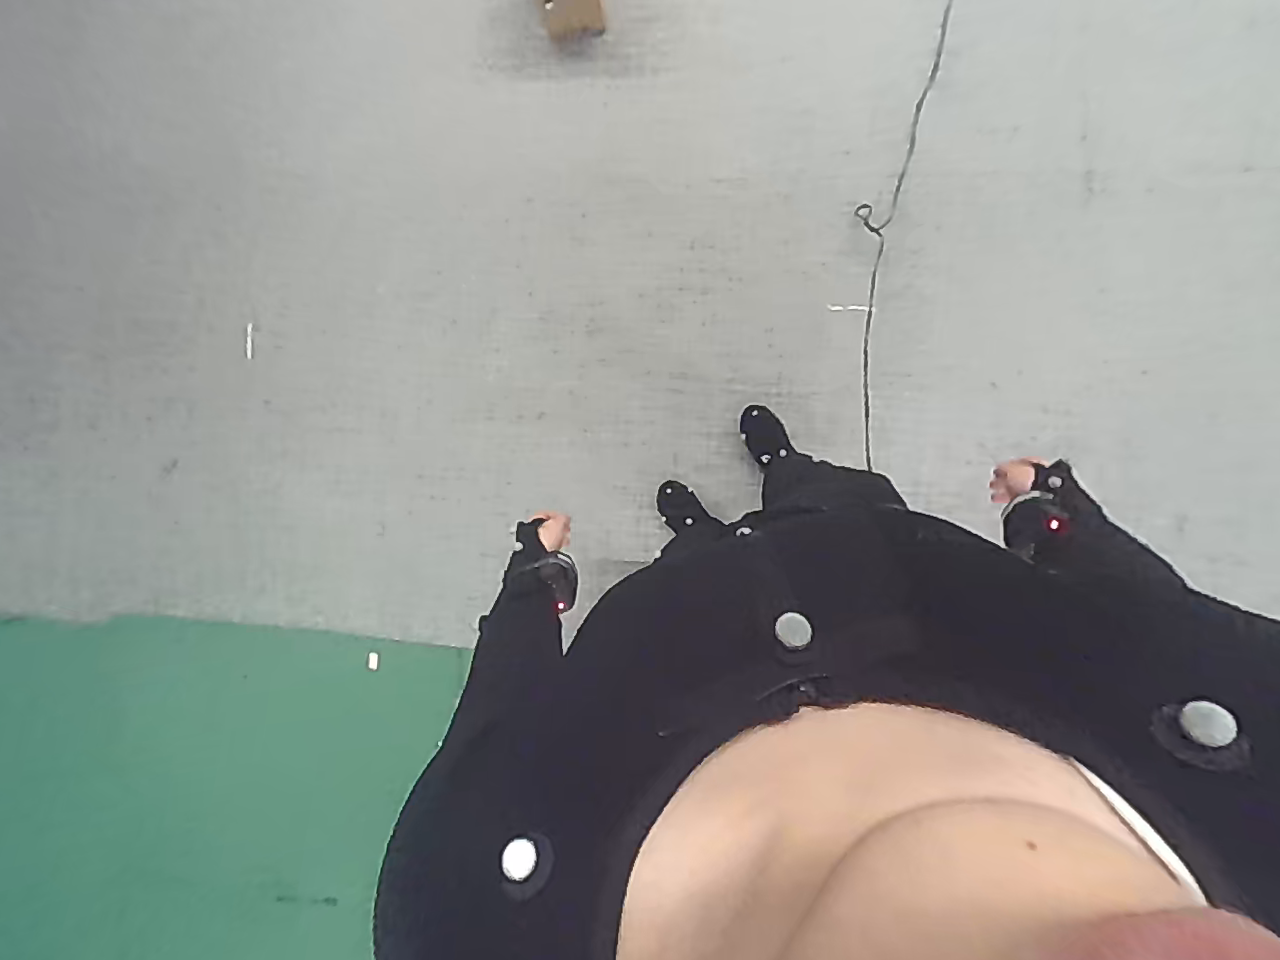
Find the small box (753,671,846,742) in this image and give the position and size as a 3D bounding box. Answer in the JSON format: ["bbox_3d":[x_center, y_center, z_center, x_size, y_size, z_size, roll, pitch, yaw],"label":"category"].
[{"bbox_3d":[0.337,0.534,1.176,0.168,0.176,0.179,4,93,8],"label":"small box"}]
